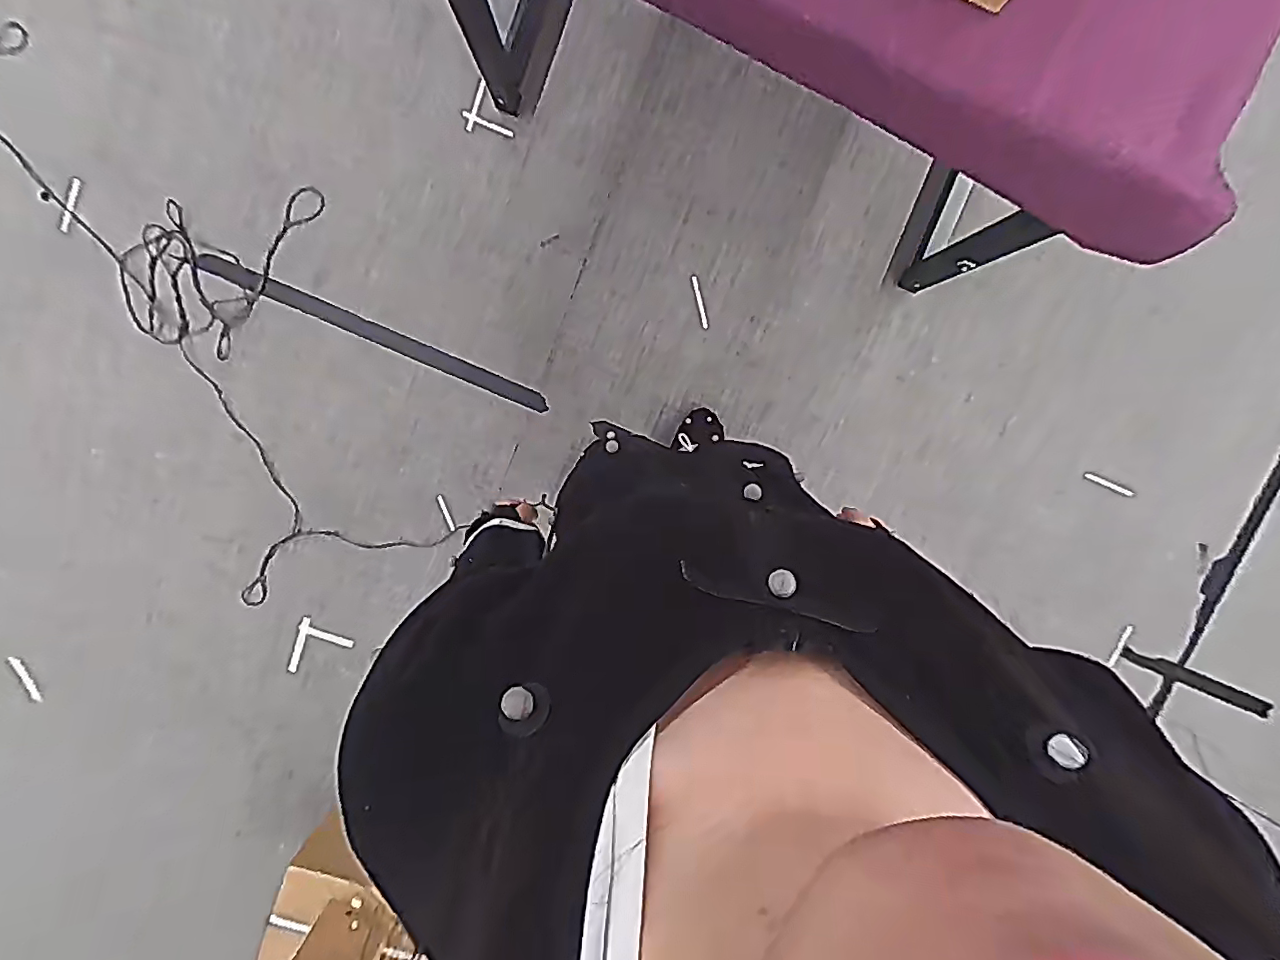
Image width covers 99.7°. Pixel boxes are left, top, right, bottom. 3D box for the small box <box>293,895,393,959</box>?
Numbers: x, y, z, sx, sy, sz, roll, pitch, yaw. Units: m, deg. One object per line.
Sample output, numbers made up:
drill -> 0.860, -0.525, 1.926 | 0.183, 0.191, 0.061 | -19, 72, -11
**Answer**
small box -> -0.708, 1.137, 1.266 | 0.168, 0.176, 0.179 | 19, 96, -4
